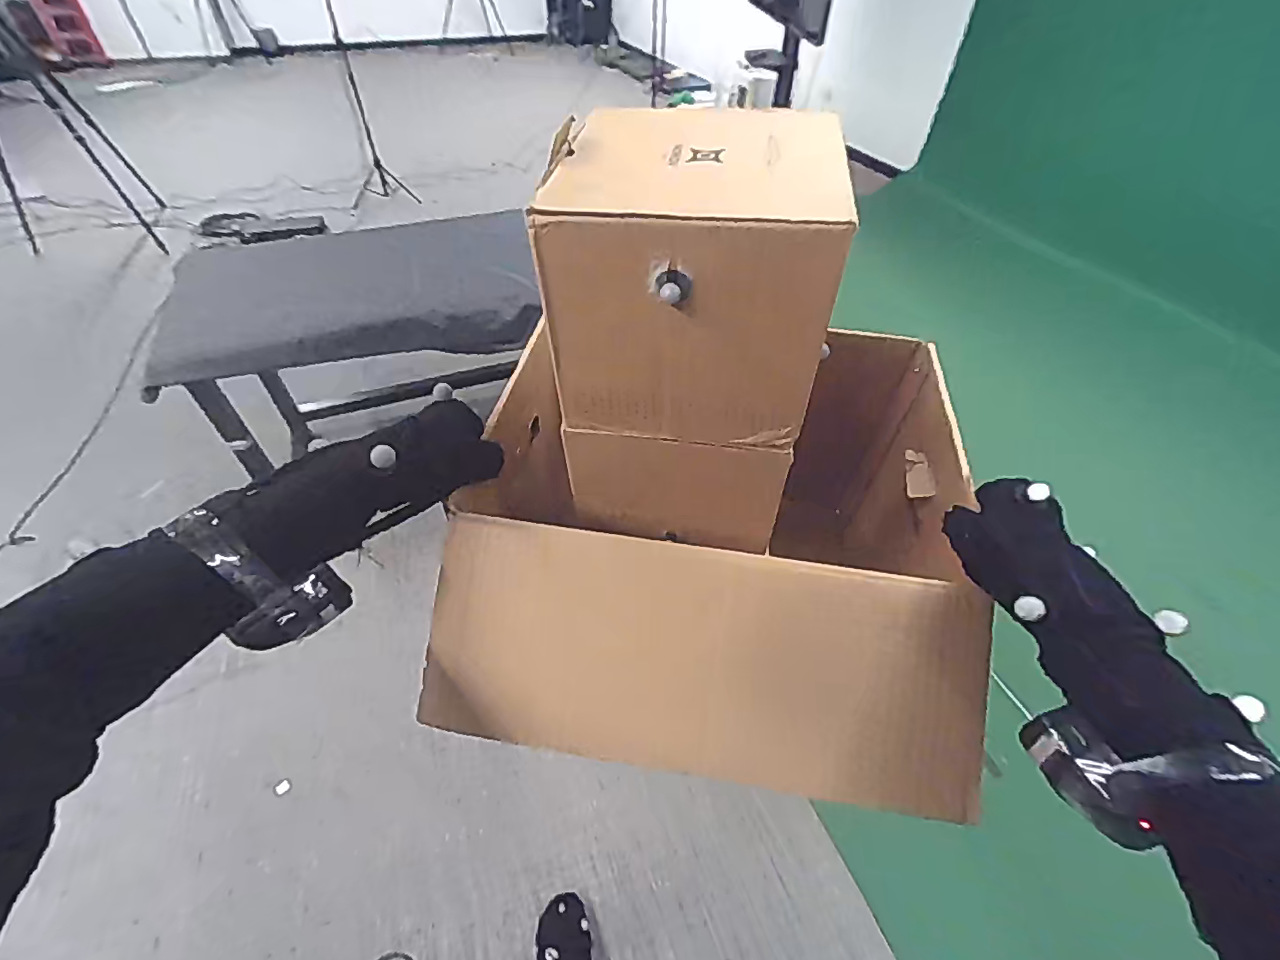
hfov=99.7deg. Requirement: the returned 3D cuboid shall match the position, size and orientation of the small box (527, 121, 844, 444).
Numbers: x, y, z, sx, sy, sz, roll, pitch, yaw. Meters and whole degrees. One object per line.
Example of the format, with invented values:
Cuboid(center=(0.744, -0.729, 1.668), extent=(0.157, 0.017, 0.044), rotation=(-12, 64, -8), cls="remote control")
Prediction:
Cuboid(center=(0.035, -0.143, 0.402), extent=(0.179, 0.176, 0.168), rotation=(5, 51, 6), cls="small box")
